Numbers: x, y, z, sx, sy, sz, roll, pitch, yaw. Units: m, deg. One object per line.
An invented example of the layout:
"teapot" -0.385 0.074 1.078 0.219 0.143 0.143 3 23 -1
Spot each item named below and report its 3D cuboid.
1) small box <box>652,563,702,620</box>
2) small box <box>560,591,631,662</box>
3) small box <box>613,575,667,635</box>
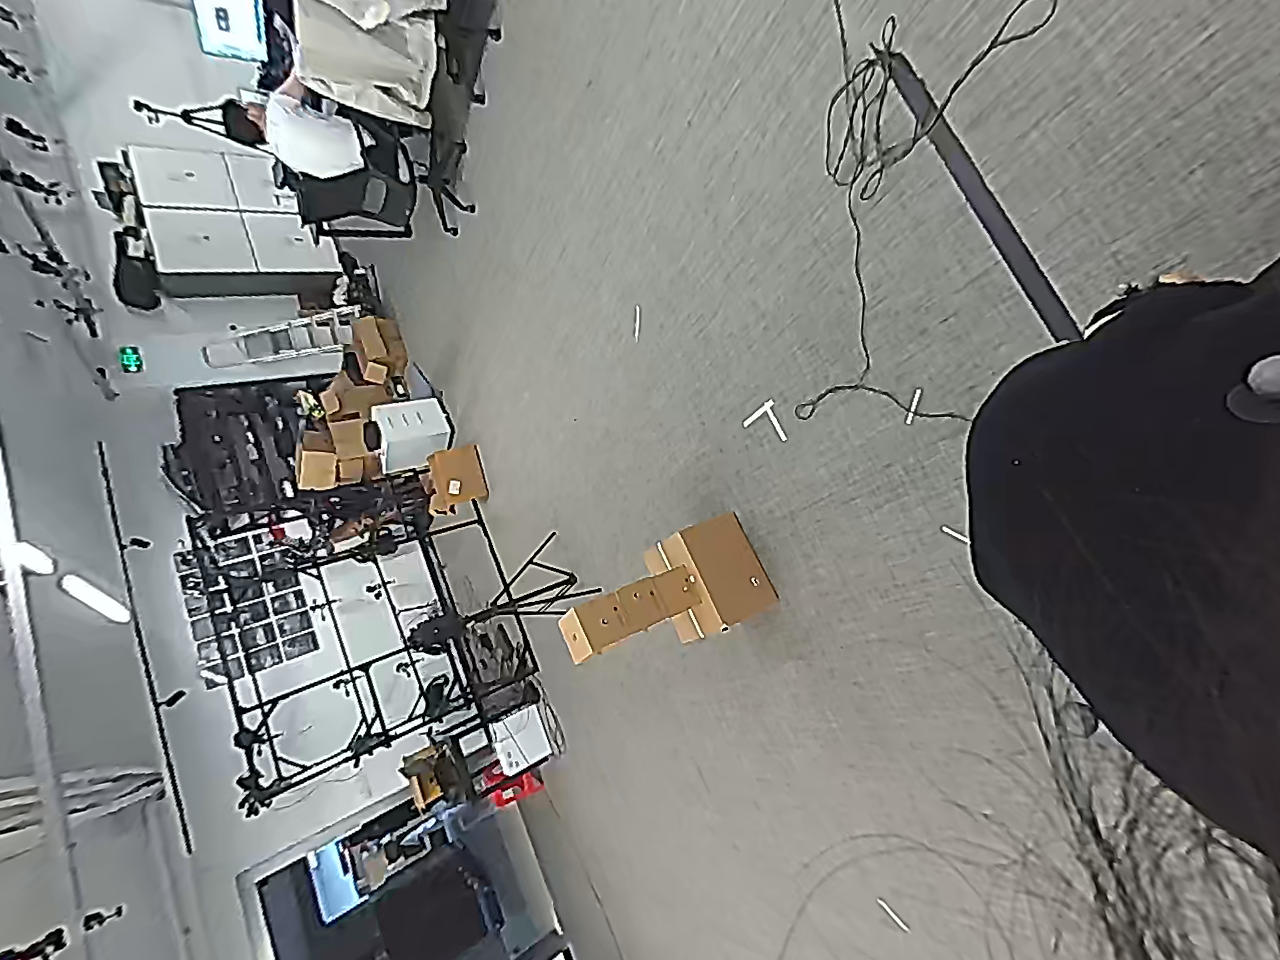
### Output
"small box" 0.107 0.440 2.089 0.179 0.176 0.168 -43 68 52
"small box" -0.152 0.512 1.903 0.168 0.176 0.179 62 143 19
"small box" -0.021 0.470 1.994 0.179 0.176 0.168 -46 65 52
